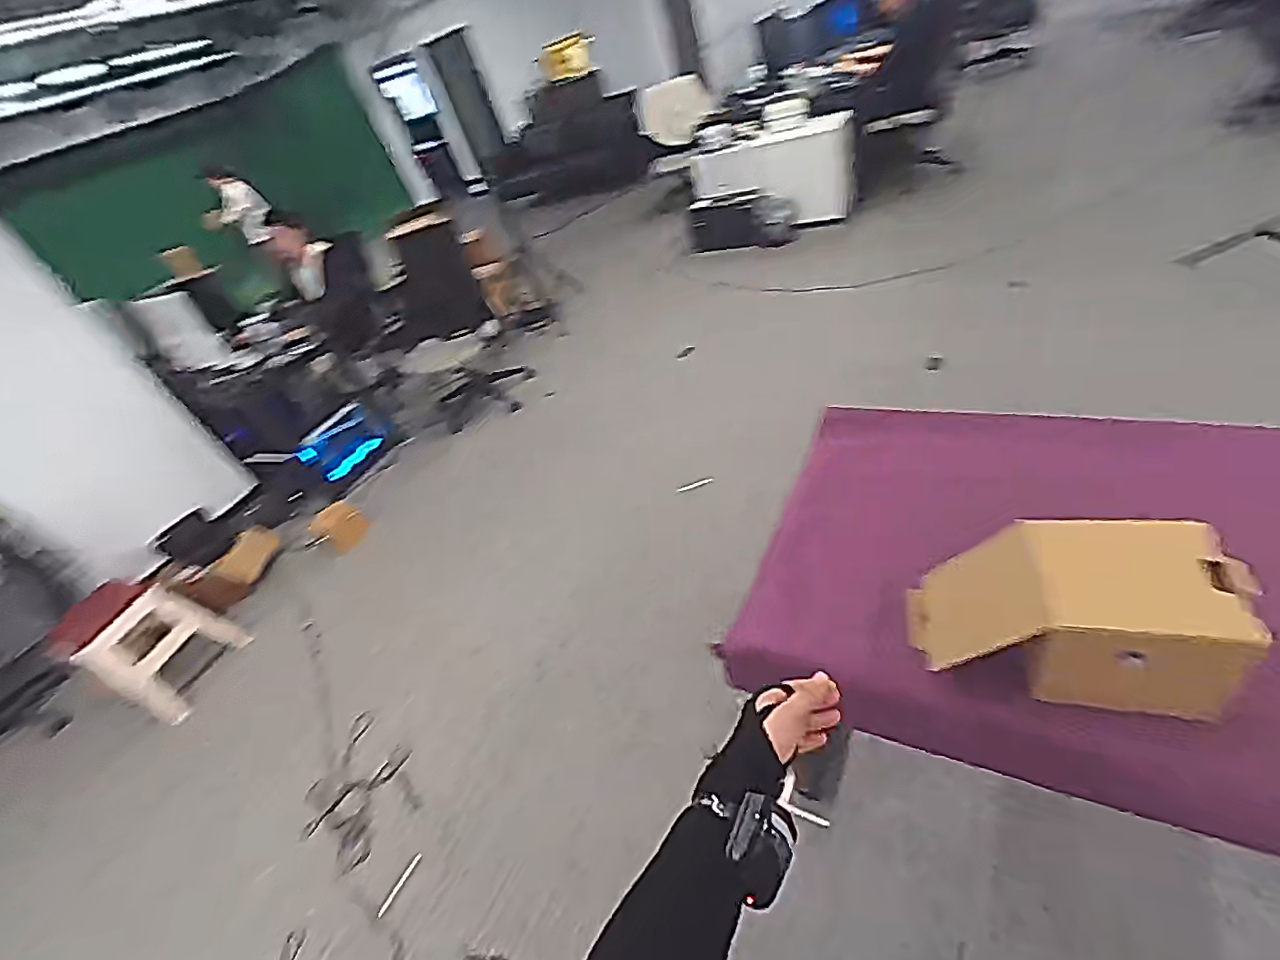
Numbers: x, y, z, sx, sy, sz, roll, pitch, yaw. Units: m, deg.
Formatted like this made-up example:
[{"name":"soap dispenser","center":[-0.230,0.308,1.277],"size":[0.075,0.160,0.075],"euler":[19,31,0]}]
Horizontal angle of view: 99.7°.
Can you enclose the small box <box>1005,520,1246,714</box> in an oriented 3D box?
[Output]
[{"name":"small box","center":[0.568,0.166,0.668],"size":[0.179,0.176,0.168],"euler":[-2,42,25]}]
